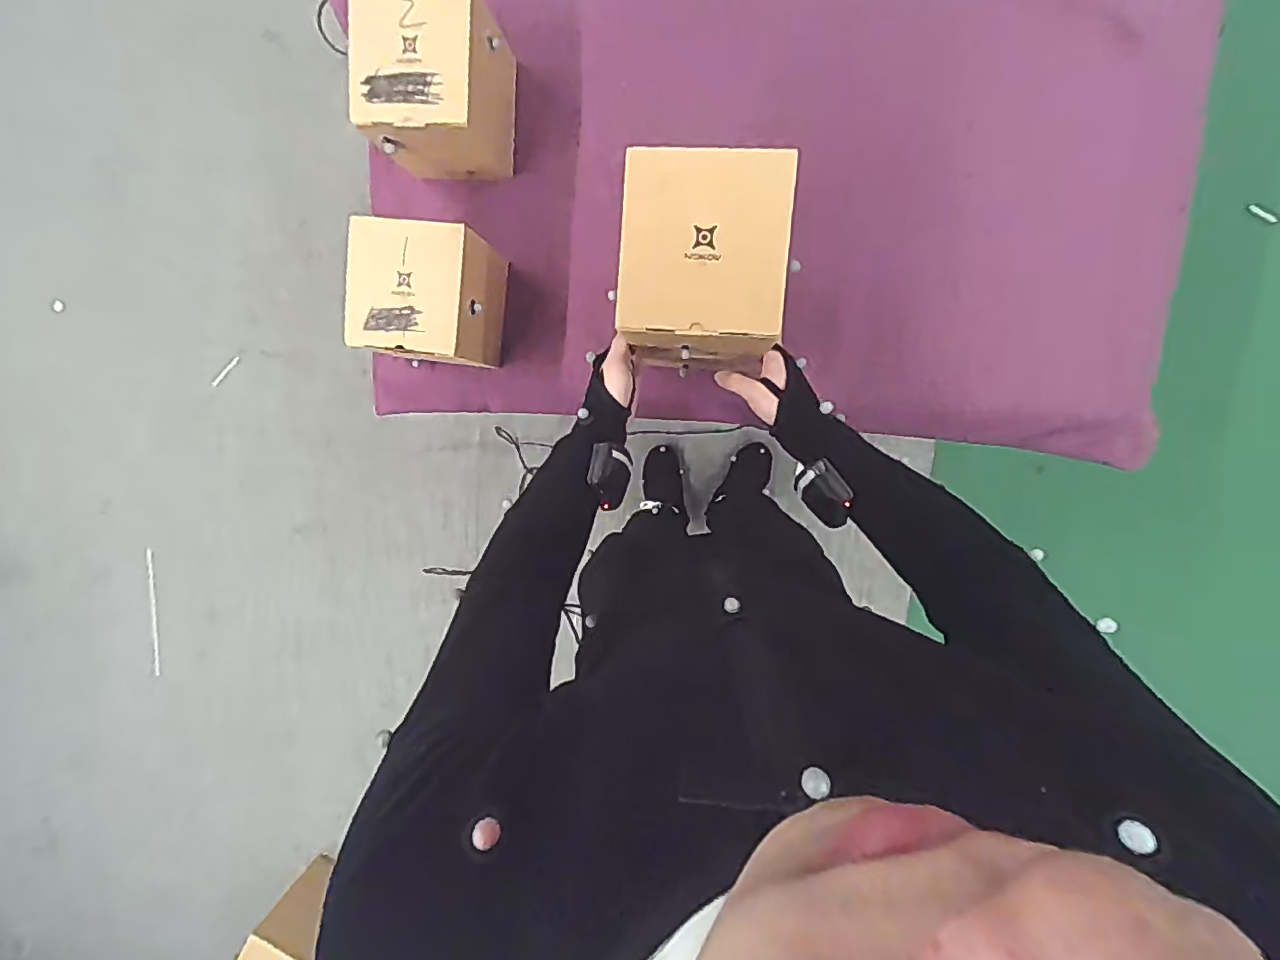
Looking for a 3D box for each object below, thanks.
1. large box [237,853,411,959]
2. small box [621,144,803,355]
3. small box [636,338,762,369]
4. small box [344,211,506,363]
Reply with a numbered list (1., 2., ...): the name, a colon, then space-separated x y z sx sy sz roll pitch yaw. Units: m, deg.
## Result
1. large box: -1.084 1.588 1.839 0.408 0.320 0.320 28 101 1
2. small box: 0.073 -0.241 0.603 0.168 0.176 0.179 4 98 5
3. small box: 0.088 -0.256 0.764 0.168 0.176 0.179 4 98 5
4. small box: -0.310 -0.276 0.807 0.168 0.176 0.179 7 97 5
